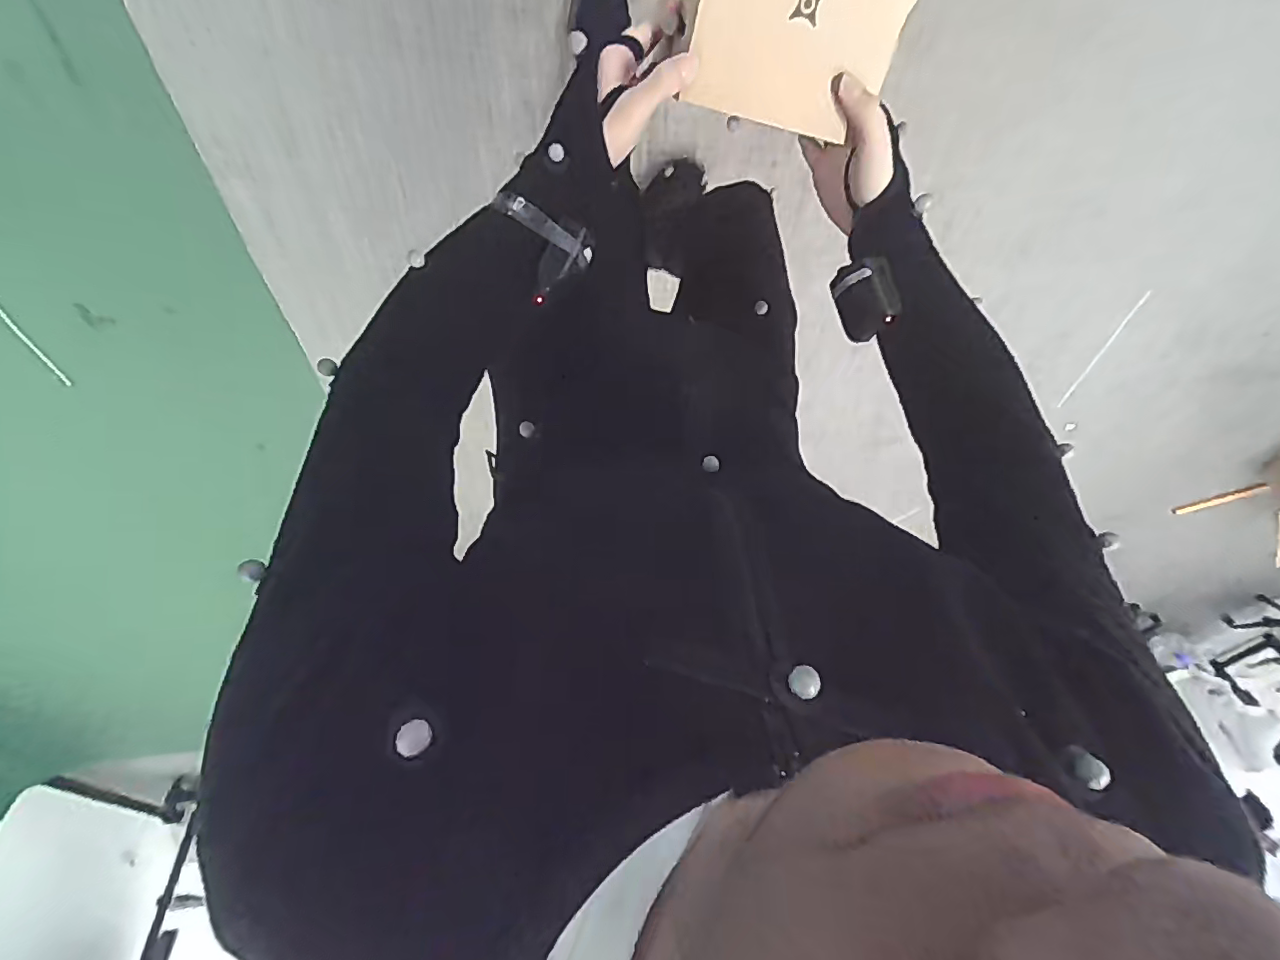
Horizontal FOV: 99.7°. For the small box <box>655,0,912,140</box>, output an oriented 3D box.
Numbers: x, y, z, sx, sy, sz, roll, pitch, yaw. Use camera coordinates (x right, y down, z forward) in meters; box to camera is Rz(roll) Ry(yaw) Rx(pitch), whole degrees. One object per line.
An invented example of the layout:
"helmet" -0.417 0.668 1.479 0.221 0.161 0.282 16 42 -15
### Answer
"small box" 0.117 -0.421 0.459 0.168 0.176 0.179 4 129 -15
